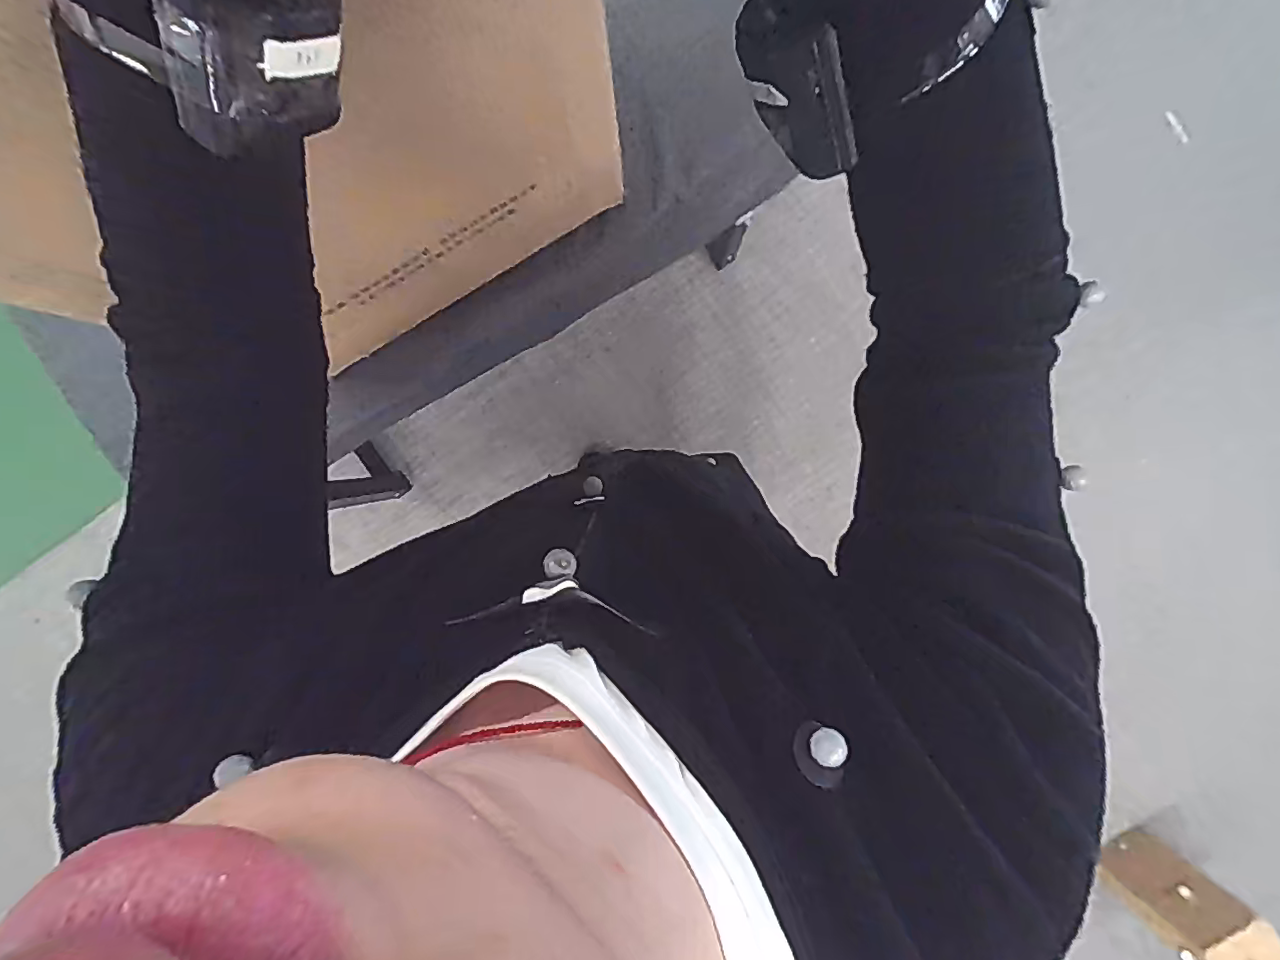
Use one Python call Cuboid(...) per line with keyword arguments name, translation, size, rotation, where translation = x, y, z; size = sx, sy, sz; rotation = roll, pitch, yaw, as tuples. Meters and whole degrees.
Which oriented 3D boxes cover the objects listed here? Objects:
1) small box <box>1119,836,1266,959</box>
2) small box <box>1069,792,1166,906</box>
Cuboid(name="small box", translation=(1.401, 1.069, 1.381), size=(0.168, 0.176, 0.179), rotation=(-33, 94, -1))
Cuboid(name="small box", translation=(1.401, 1.062, 1.568), size=(0.179, 0.176, 0.168), rotation=(-37, 92, 1))
